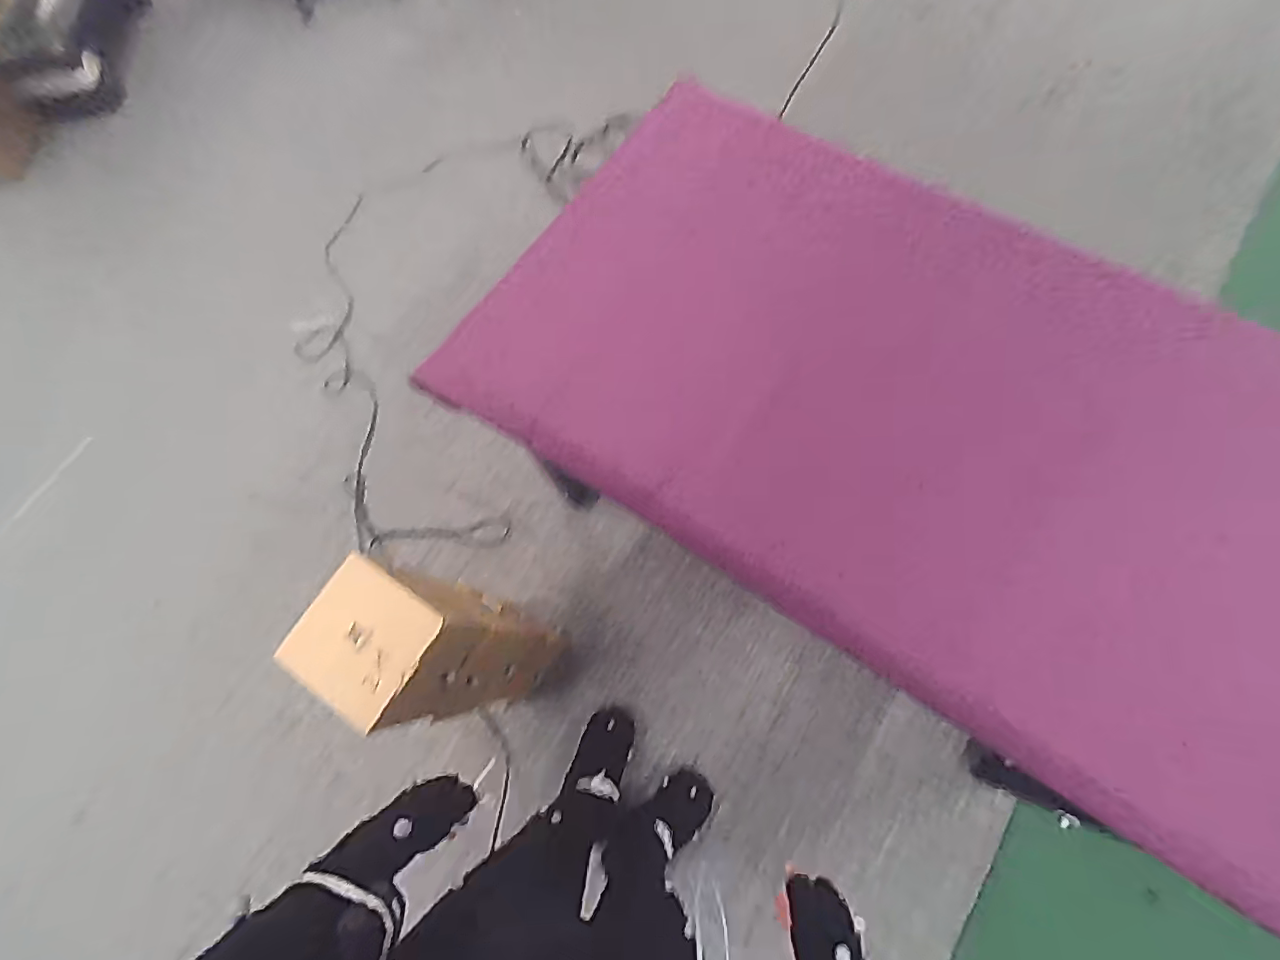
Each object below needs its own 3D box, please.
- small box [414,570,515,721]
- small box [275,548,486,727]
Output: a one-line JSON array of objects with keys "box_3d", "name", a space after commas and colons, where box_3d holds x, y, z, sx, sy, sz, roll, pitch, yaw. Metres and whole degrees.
[{"box_3d": [-0.338, 0.281, 0.936, 0.168, 0.176, 0.179, 32, 79, 13], "name": "small box"}, {"box_3d": [-0.360, 0.225, 0.782, 0.179, 0.176, 0.168, 33, 79, 13], "name": "small box"}]
